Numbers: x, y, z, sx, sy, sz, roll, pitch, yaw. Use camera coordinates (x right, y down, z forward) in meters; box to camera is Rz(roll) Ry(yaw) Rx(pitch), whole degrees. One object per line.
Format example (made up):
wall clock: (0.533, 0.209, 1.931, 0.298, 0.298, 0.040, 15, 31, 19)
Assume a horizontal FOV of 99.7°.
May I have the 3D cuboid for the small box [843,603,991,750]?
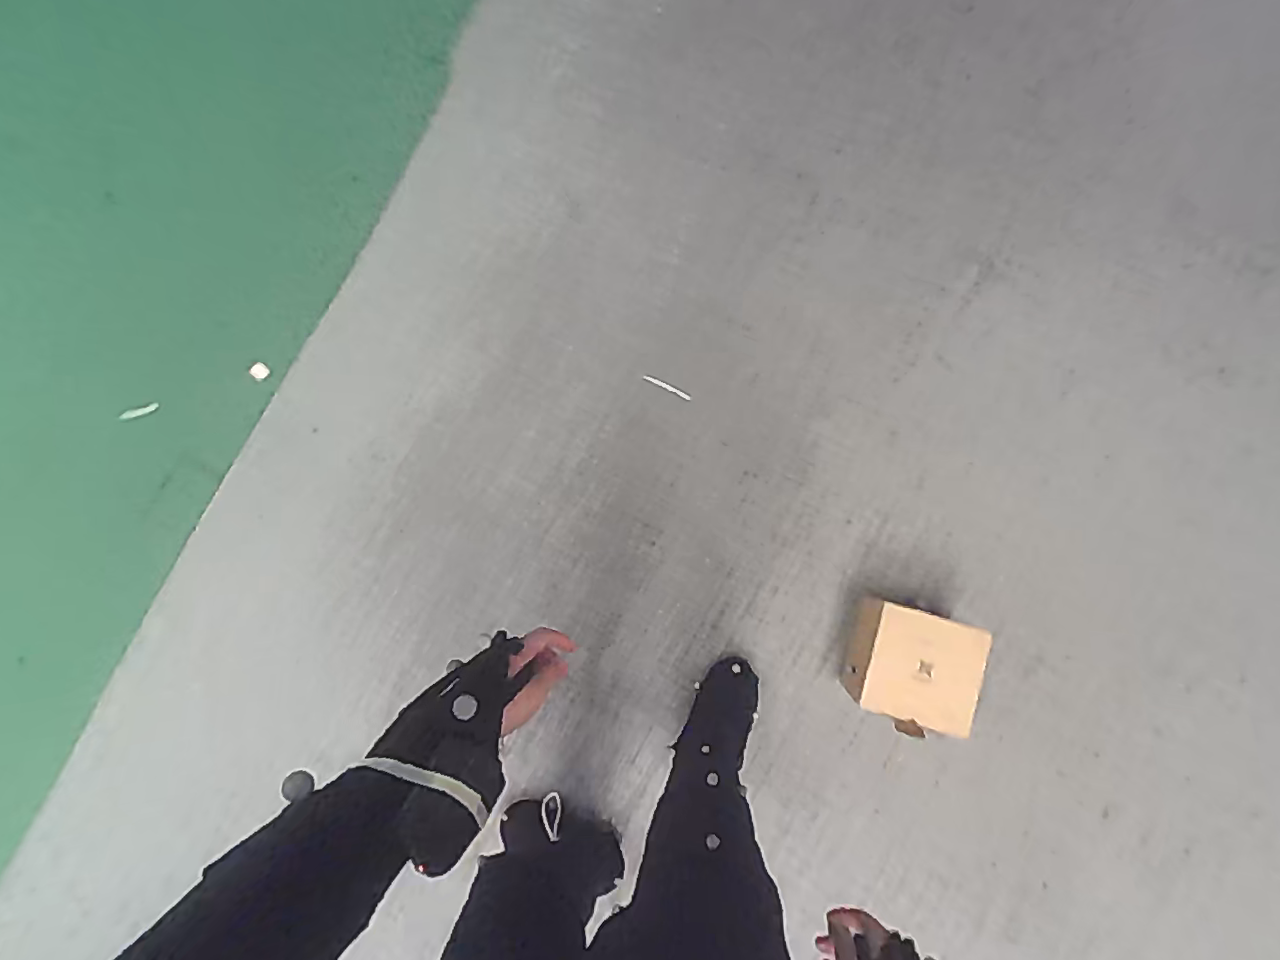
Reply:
small box: (0.460, 0.323, 0.928, 0.168, 0.176, 0.179, 16, 84, 11)
